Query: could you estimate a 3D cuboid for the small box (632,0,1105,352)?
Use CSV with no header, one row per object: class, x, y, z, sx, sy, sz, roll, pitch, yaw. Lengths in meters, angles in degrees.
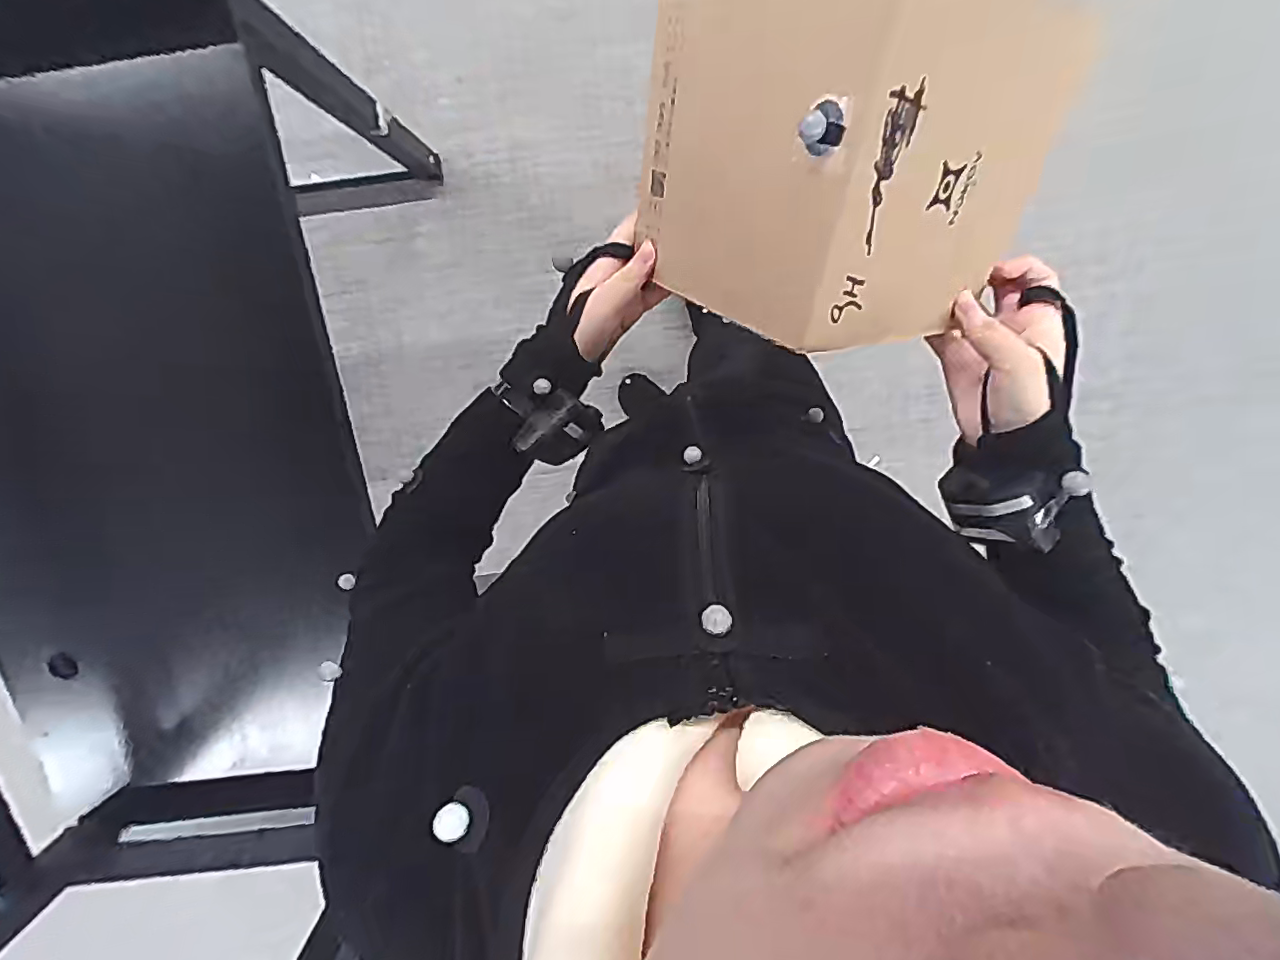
small box,0.120,-0.191,0.335,0.179,0.176,0.168,-13,128,-33
